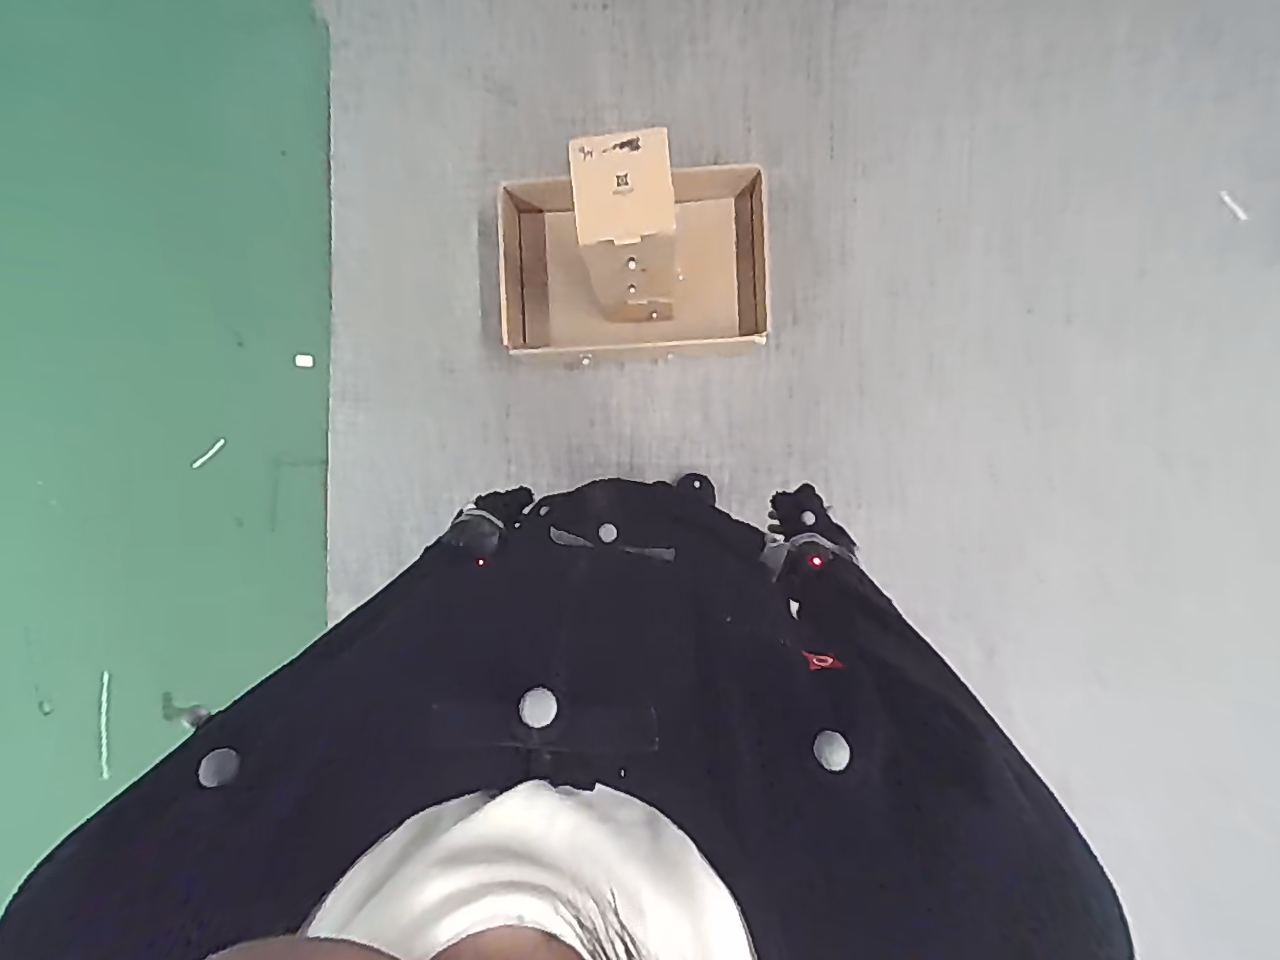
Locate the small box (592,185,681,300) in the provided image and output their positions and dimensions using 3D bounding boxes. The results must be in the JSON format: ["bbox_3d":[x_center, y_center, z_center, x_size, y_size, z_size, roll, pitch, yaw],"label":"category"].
[{"bbox_3d":[-0.012,-0.491,1.136,0.179,0.176,0.168,-6,92,2],"label":"small box"}]

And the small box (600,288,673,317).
[{"bbox_3d":[-0.005,-0.497,1.299,0.168,0.176,0.179,-1,90,3],"label":"small box"}]

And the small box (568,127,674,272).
[{"bbox_3d":[-0.026,-0.489,0.973,0.168,0.176,0.179,-5,92,4],"label":"small box"}]
